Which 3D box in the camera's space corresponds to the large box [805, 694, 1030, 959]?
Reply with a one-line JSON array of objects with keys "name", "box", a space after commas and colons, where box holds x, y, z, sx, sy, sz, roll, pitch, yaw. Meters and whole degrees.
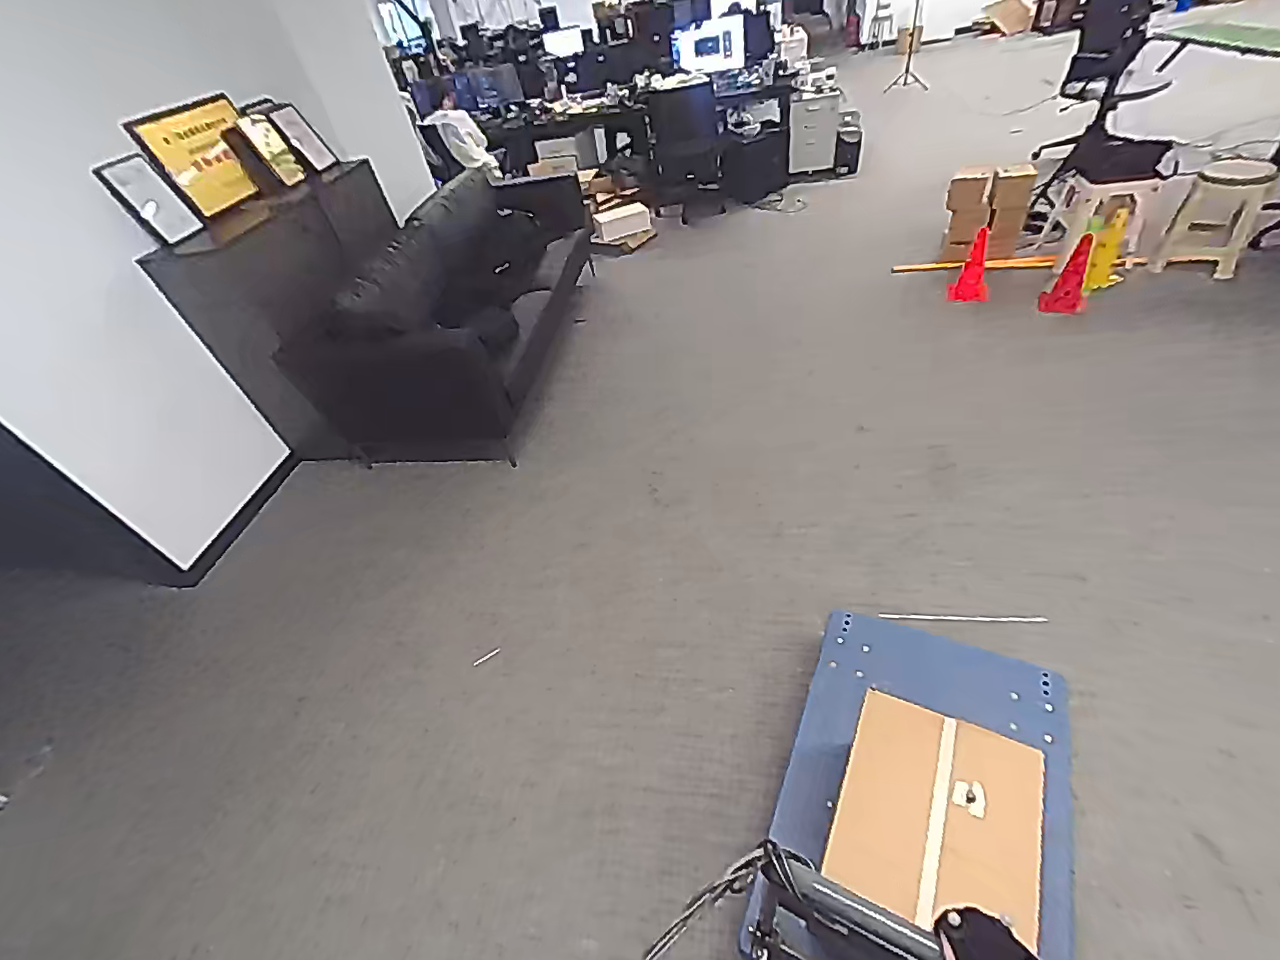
[{"name": "large box", "box": [0.531, 0.722, 1.060, 0.320, 0.320, 0.408, 15, 49, 26]}]
